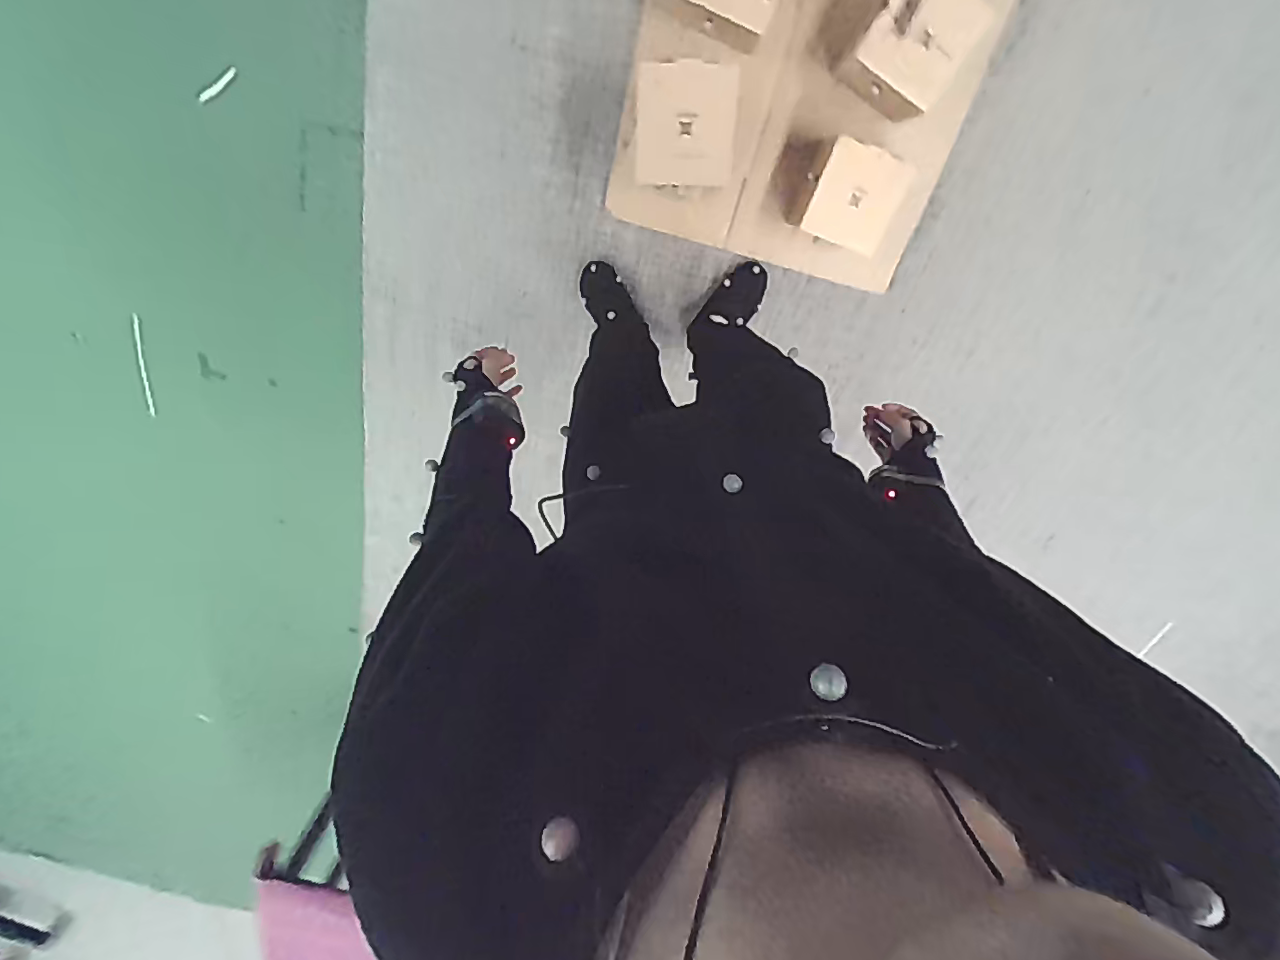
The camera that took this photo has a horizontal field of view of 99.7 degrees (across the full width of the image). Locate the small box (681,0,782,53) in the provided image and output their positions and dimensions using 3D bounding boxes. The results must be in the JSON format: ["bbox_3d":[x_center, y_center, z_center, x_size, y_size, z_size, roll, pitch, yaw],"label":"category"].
[{"bbox_3d":[0.181,-0.917,0.981,0.179,0.176,0.168,22,117,-6],"label":"small box"}]

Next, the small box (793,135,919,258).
[{"bbox_3d":[0.435,-0.585,1.127,0.168,0.176,0.179,19,117,-5],"label":"small box"}]

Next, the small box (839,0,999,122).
[{"bbox_3d":[0.502,-0.801,1.005,0.179,0.176,0.168,29,116,-11],"label":"small box"}]

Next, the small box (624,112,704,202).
[{"bbox_3d":[0.080,-0.692,1.108,0.168,0.176,0.179,20,117,-6],"label":"small box"}]

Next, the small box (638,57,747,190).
[{"bbox_3d":[0.089,-0.620,0.959,0.168,0.176,0.179,5,118,4],"label":"small box"}]
